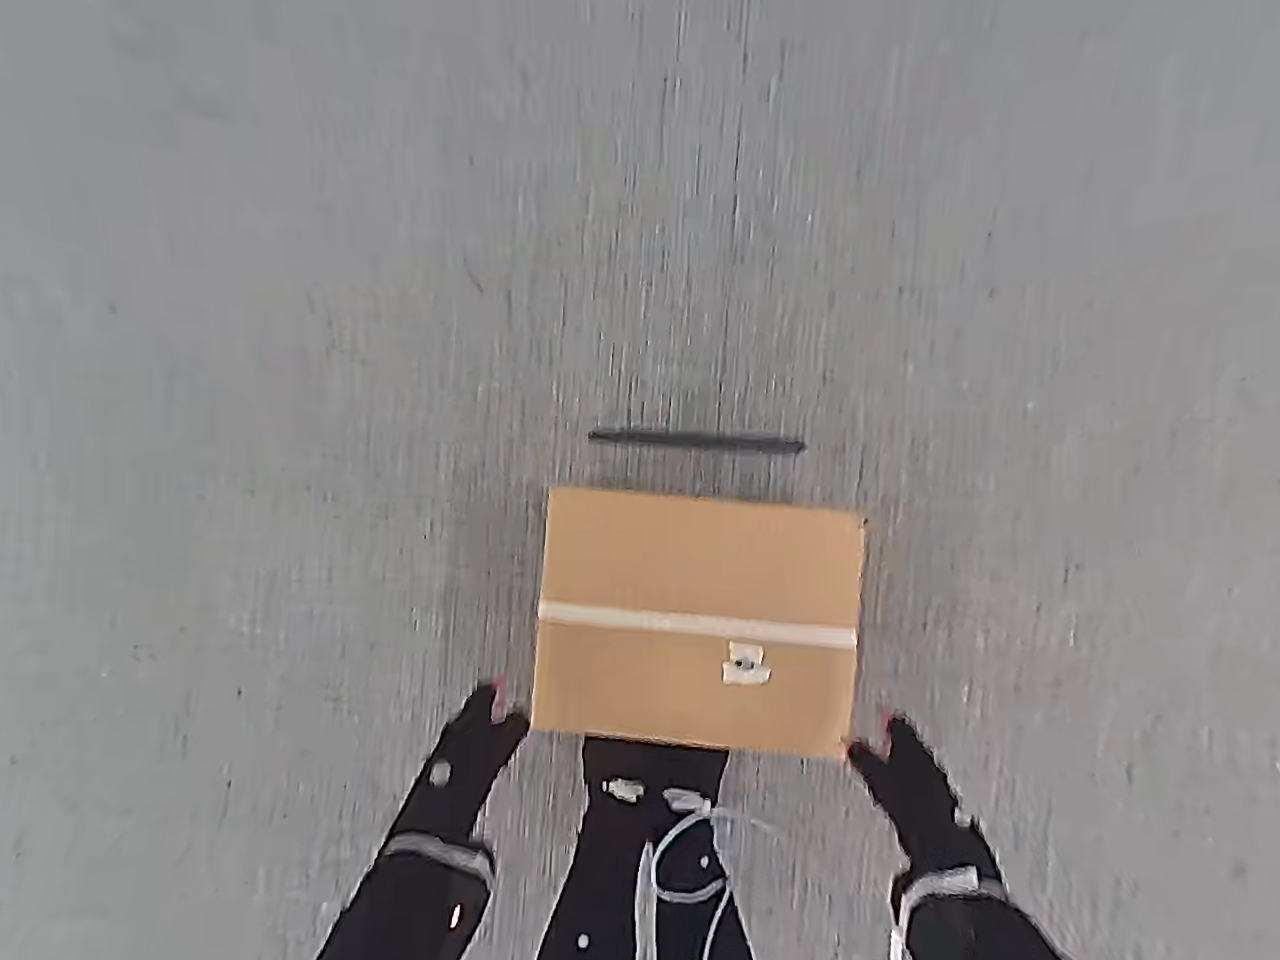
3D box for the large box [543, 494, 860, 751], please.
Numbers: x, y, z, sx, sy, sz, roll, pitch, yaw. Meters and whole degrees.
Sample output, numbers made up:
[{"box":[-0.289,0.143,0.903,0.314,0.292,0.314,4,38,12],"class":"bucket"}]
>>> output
[{"box":[0.081,0.189,0.853,0.408,0.320,0.320,5,90,2],"class":"large box"}]
